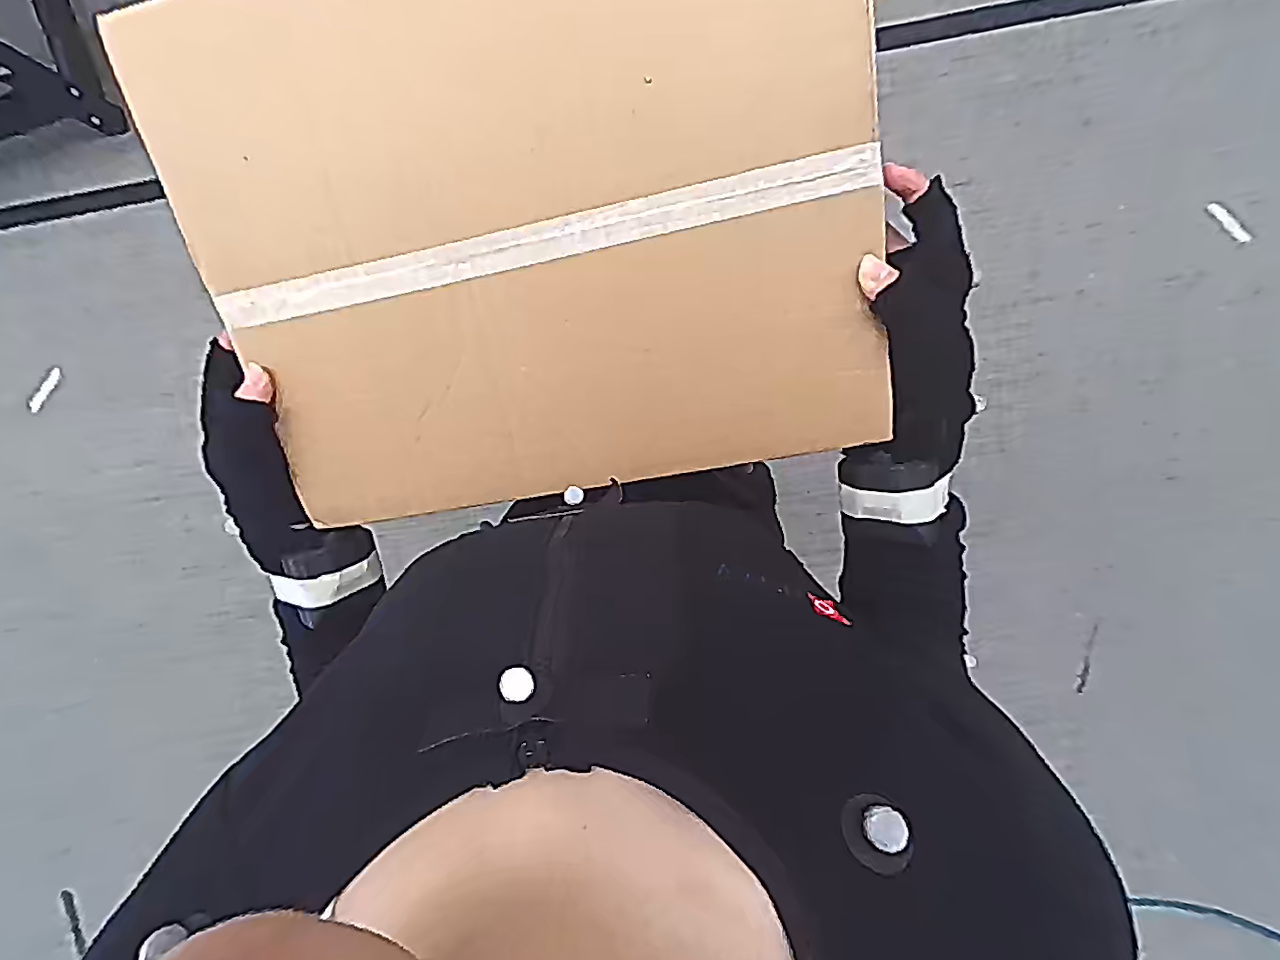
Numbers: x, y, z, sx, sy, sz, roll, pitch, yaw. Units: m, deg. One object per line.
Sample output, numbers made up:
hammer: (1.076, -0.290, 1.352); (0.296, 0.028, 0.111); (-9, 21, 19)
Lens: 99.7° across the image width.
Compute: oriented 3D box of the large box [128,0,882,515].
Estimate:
large box: (-0.055, -0.200, 0.464); (0.408, 0.320, 0.320); (-9, 109, 8)
